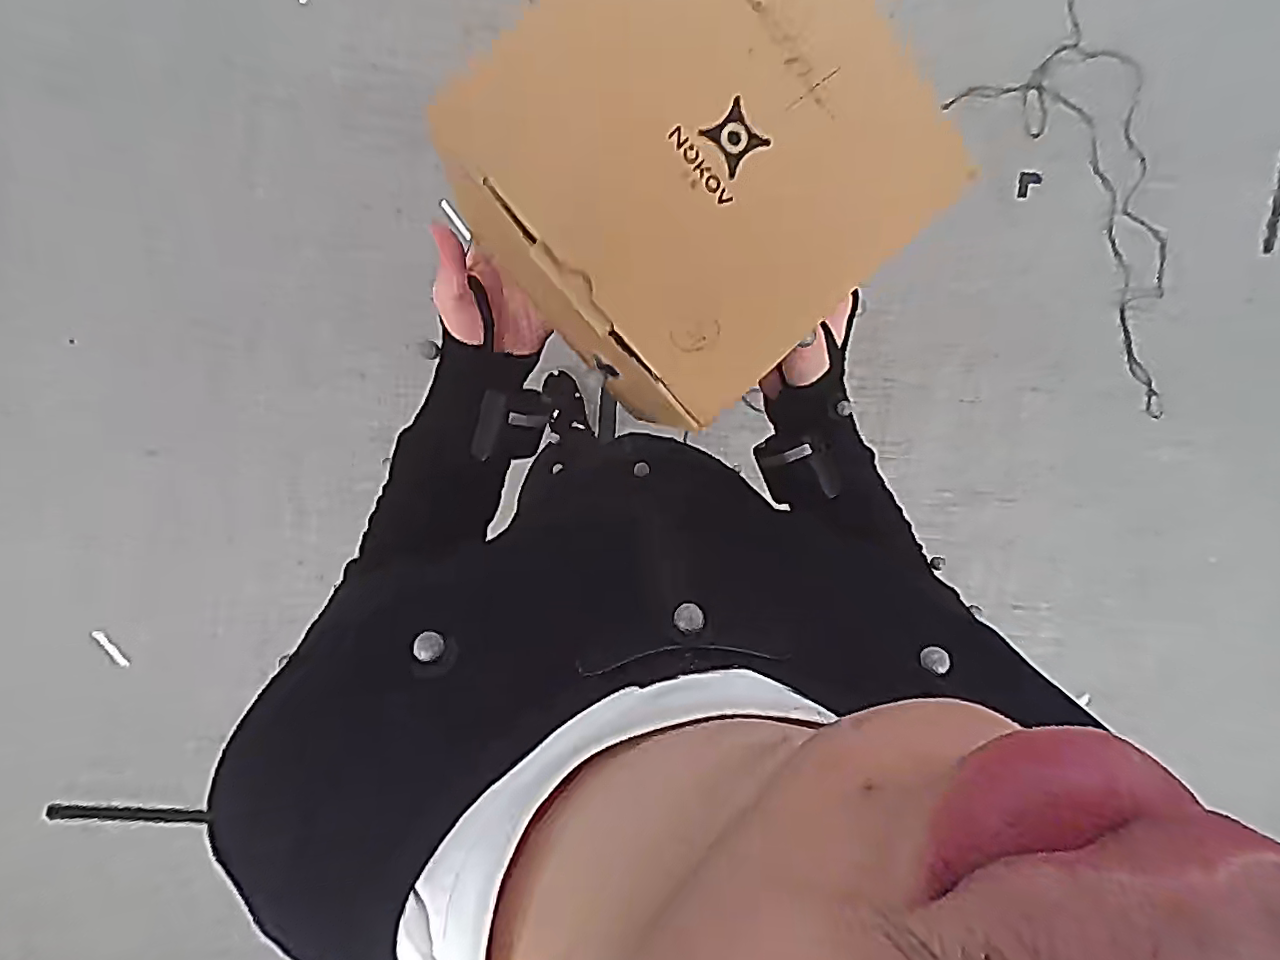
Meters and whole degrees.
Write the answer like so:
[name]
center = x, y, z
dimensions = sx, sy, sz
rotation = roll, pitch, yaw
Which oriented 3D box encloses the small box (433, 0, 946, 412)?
[small box]
center = 0.017, -0.157, 0.312
dimensions = 0.179, 0.176, 0.168
rotation = -44, 104, -3
